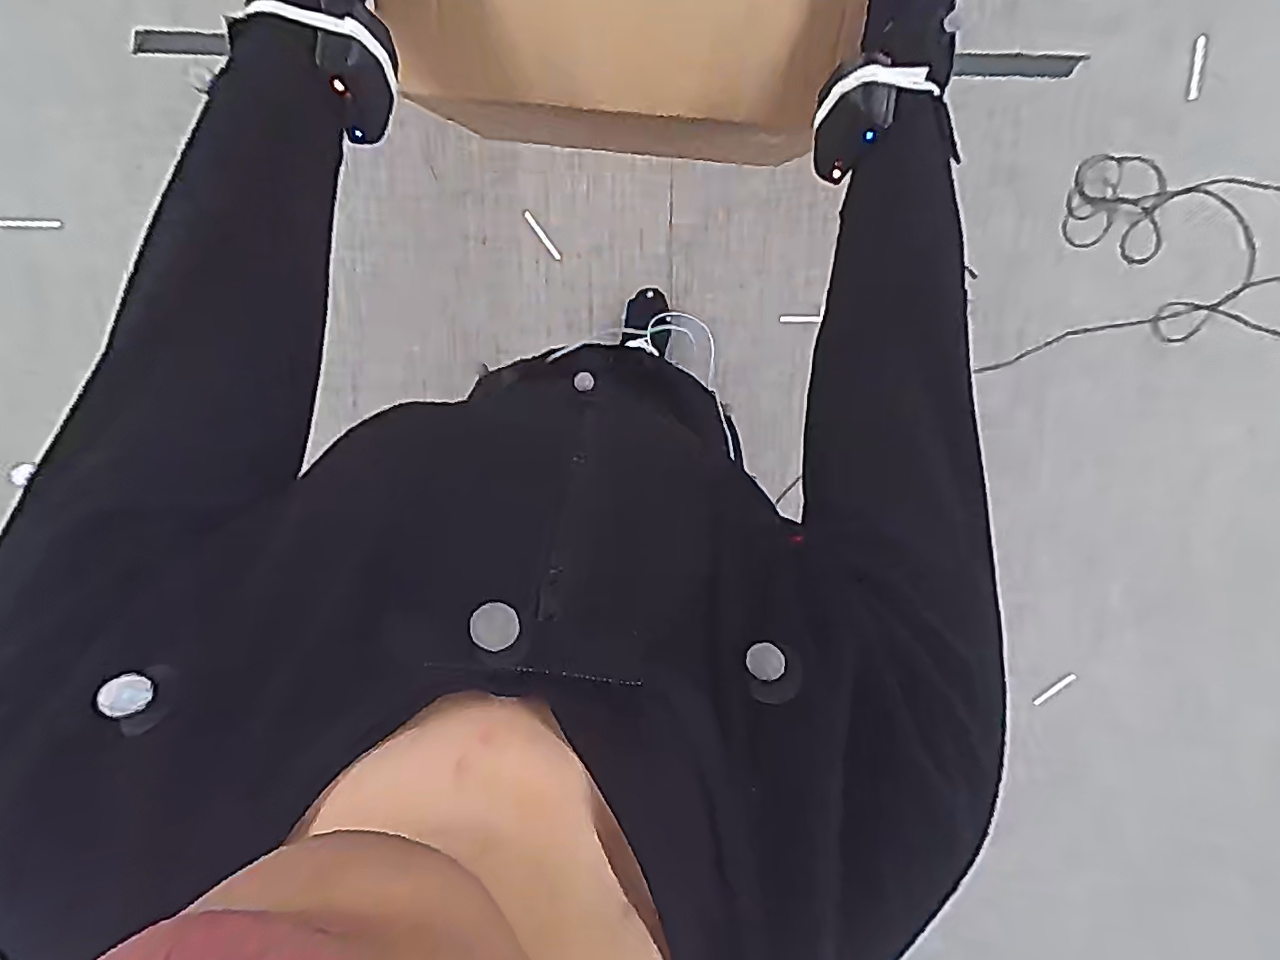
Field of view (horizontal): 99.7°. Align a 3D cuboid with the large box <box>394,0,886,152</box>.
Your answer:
[{"bbox_3d":[0.003,-0.529,0.530,0.408,0.320,0.320,3,116,-3],"label":"large box"}]
